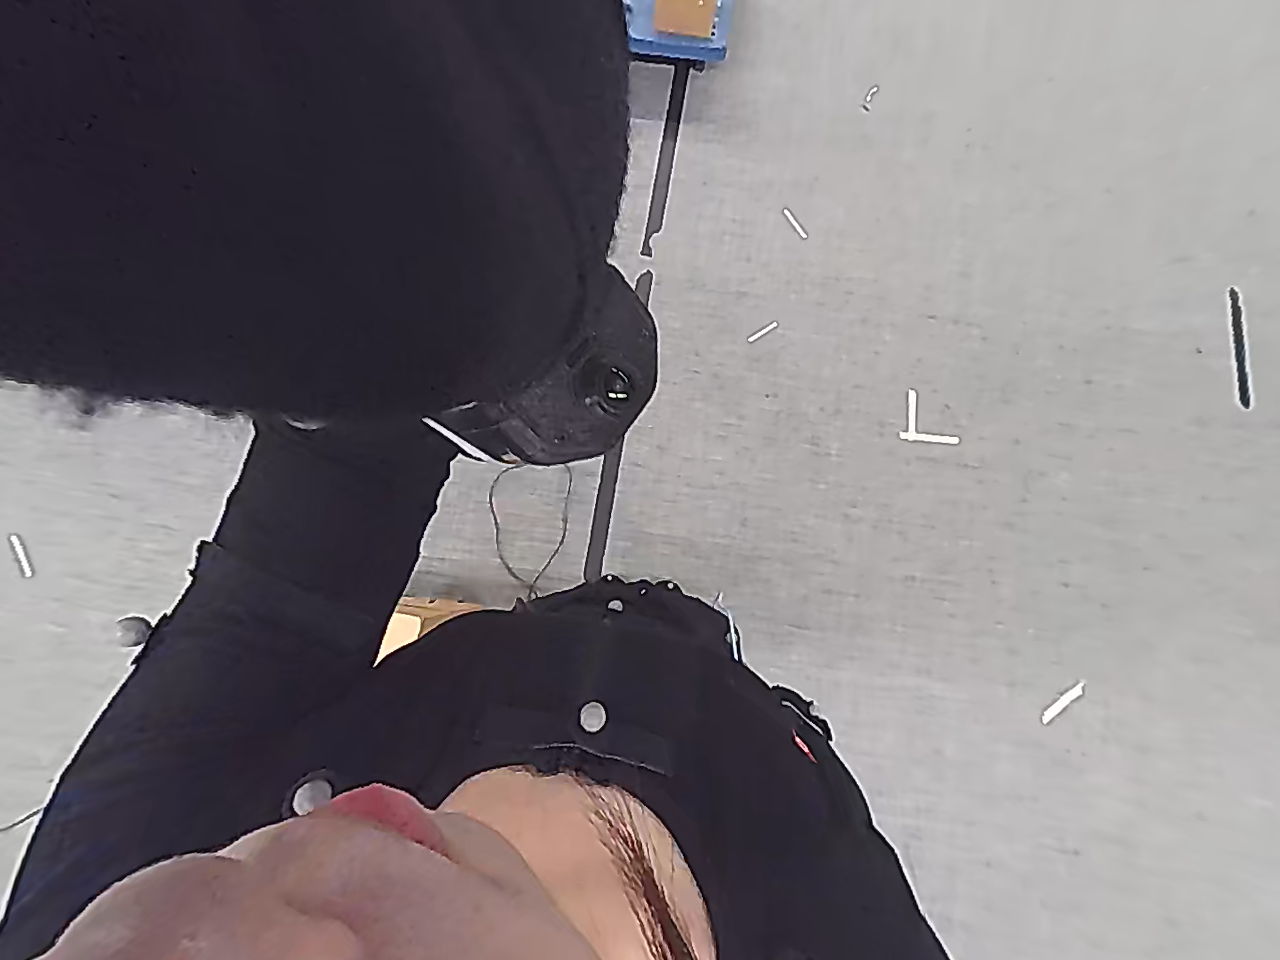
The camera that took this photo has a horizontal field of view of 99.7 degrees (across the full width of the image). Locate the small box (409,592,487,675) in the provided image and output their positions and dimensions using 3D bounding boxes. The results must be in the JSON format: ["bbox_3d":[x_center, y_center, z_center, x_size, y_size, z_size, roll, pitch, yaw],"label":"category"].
[{"bbox_3d":[-0.512,0.393,1.409,0.168,0.176,0.179,9,78,1],"label":"small box"}]

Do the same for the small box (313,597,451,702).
[{"bbox_3d":[-0.506,0.331,1.085,0.179,0.176,0.168,9,79,0],"label":"small box"}]

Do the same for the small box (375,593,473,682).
[{"bbox_3d":[-0.509,0.358,1.249,0.179,0.176,0.168,8,79,1],"label":"small box"}]
